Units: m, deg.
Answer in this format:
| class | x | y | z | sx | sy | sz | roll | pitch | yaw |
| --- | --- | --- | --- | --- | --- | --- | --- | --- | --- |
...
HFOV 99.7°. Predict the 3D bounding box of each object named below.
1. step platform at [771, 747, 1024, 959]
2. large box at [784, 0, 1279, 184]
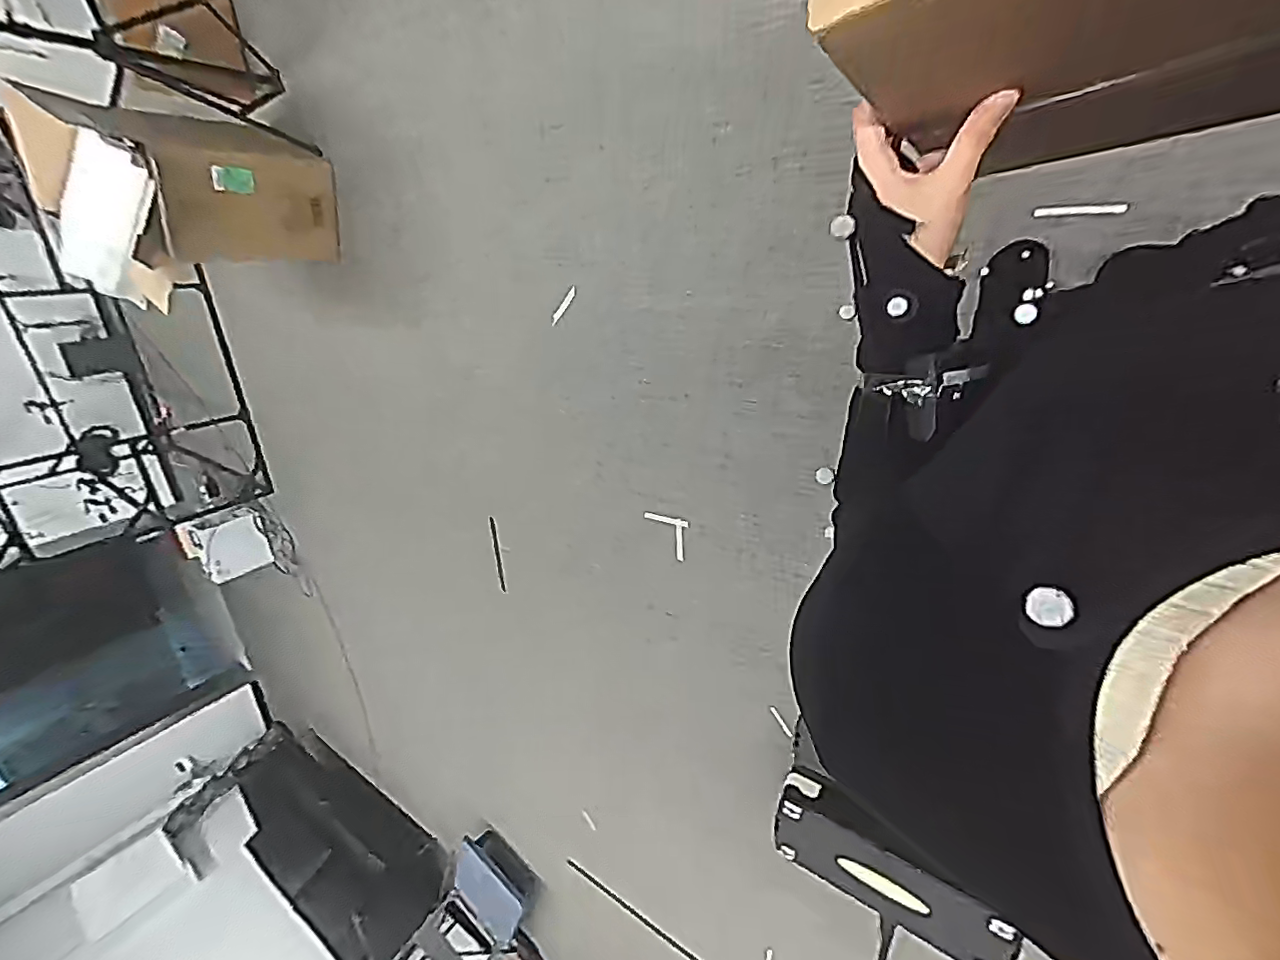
| class | x | y | z | sx | sy | sz | roll | pitch | yaw |
| --- | --- | --- | --- | --- | --- | --- | --- | --- | --- |
| step platform | 0.754 | 1.146 | 1.663 | 0.684 | 0.204 | 0.286 | 20 | 121 | 31 |
| large box | 0.301 | -0.361 | 0.205 | 0.408 | 0.320 | 0.320 | 6 | 106 | 41 |
